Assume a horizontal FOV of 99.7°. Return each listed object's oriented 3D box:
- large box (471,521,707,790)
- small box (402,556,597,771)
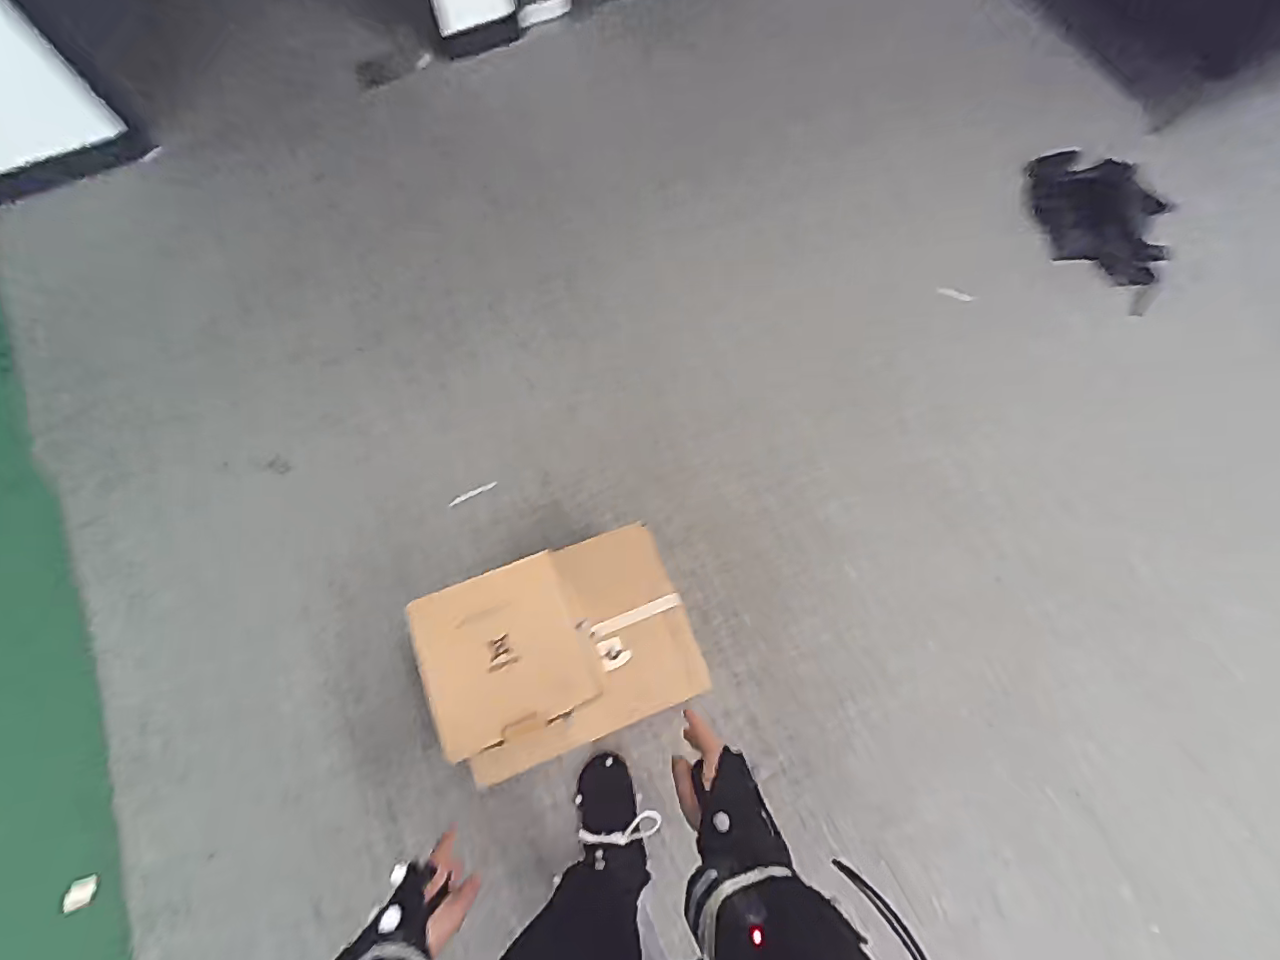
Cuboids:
[{"bbox_3d":[-0.133,0.328,1.046,0.408,0.320,0.320,-21,73,-10],"label":"large box"},{"bbox_3d":[-0.156,0.216,0.652,0.168,0.176,0.179,-21,71,-11],"label":"small box"}]
